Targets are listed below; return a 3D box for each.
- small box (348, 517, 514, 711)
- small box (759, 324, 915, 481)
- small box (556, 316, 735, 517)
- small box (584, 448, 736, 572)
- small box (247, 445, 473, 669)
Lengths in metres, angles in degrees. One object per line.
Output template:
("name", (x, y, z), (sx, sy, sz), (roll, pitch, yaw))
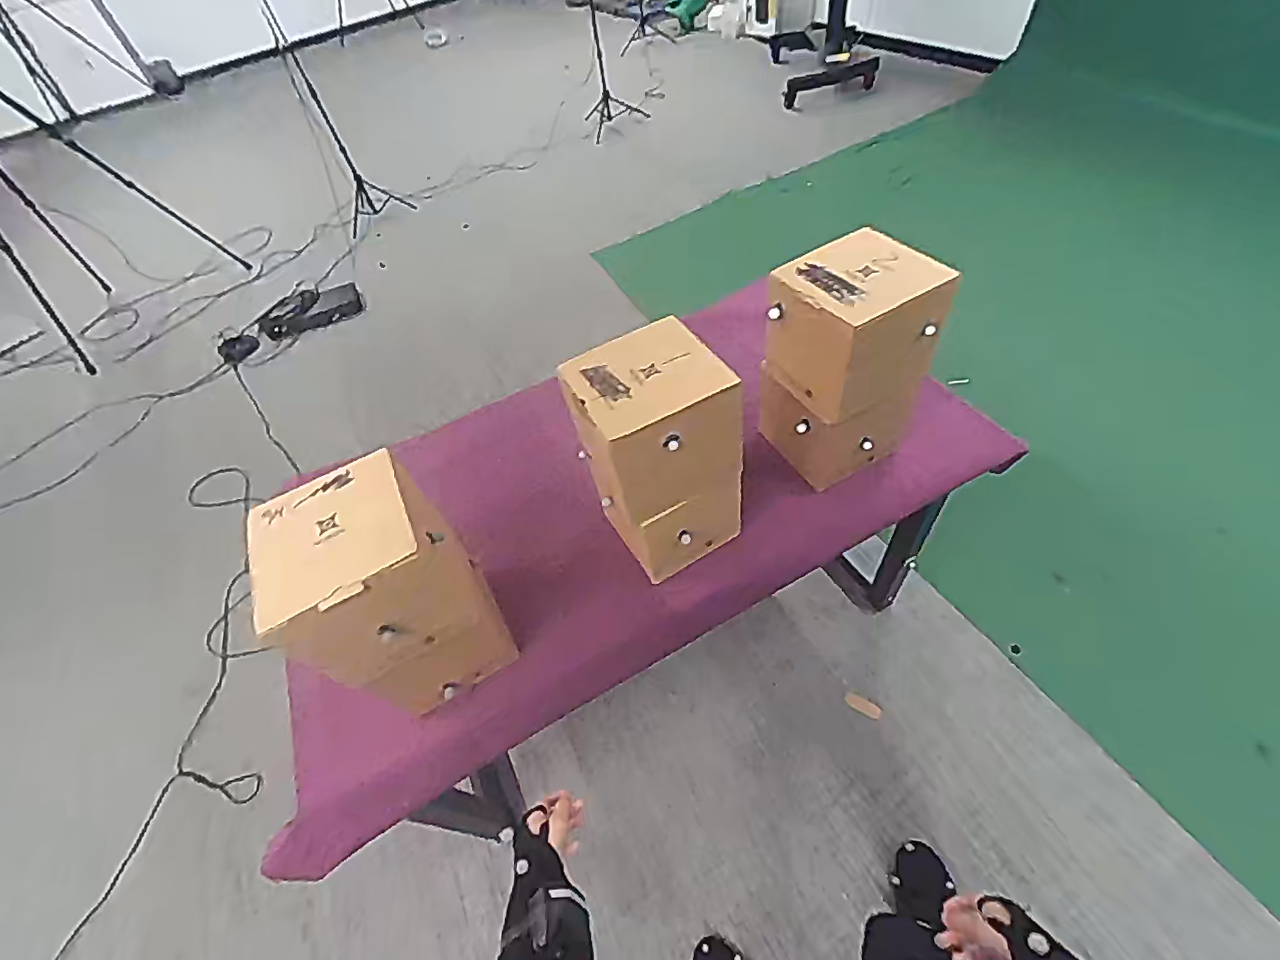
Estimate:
("small box", (-0.302, 0.193, 0.768), (0.168, 0.176, 0.179), (-29, 53, -12))
("small box", (0.315, -0.121, 0.903), (0.168, 0.176, 0.179), (-26, 51, -10))
("small box", (0.014, -0.081, 0.717), (0.179, 0.176, 0.168), (-25, 51, -11))
("small box", (0.038, 0.020, 0.844), (0.168, 0.176, 0.179), (-29, 51, -12))
("small box", (-0.318, 0.099, 0.635), (0.168, 0.176, 0.179), (-27, 53, -11))
